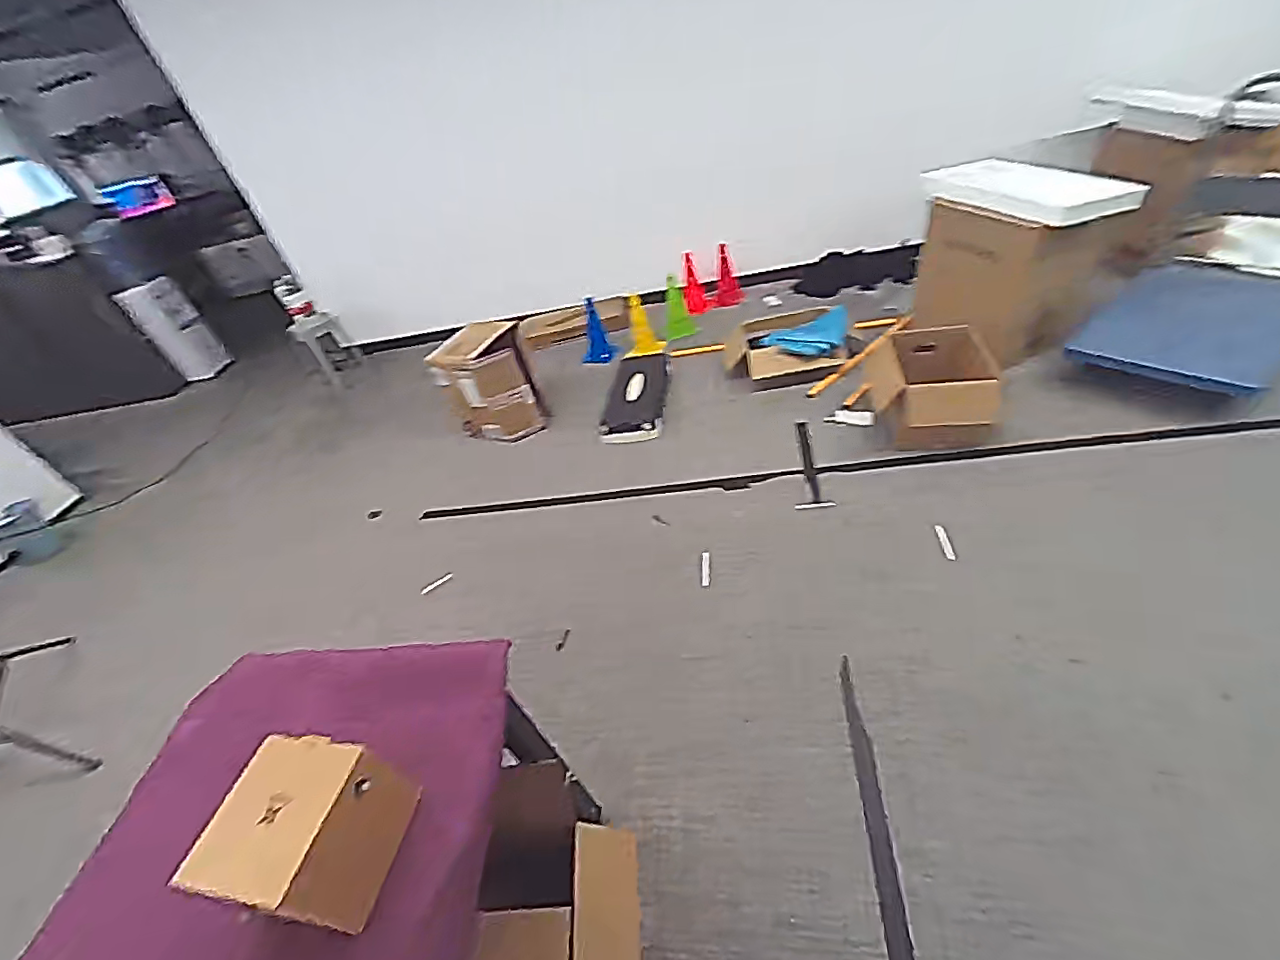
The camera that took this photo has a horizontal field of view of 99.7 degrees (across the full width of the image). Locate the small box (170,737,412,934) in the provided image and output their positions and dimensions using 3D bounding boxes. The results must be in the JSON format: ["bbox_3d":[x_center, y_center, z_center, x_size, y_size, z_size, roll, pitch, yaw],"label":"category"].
[{"bbox_3d":[-0.438,0.469,0.717,0.168,0.176,0.179,-3,41,16],"label":"small box"}]
